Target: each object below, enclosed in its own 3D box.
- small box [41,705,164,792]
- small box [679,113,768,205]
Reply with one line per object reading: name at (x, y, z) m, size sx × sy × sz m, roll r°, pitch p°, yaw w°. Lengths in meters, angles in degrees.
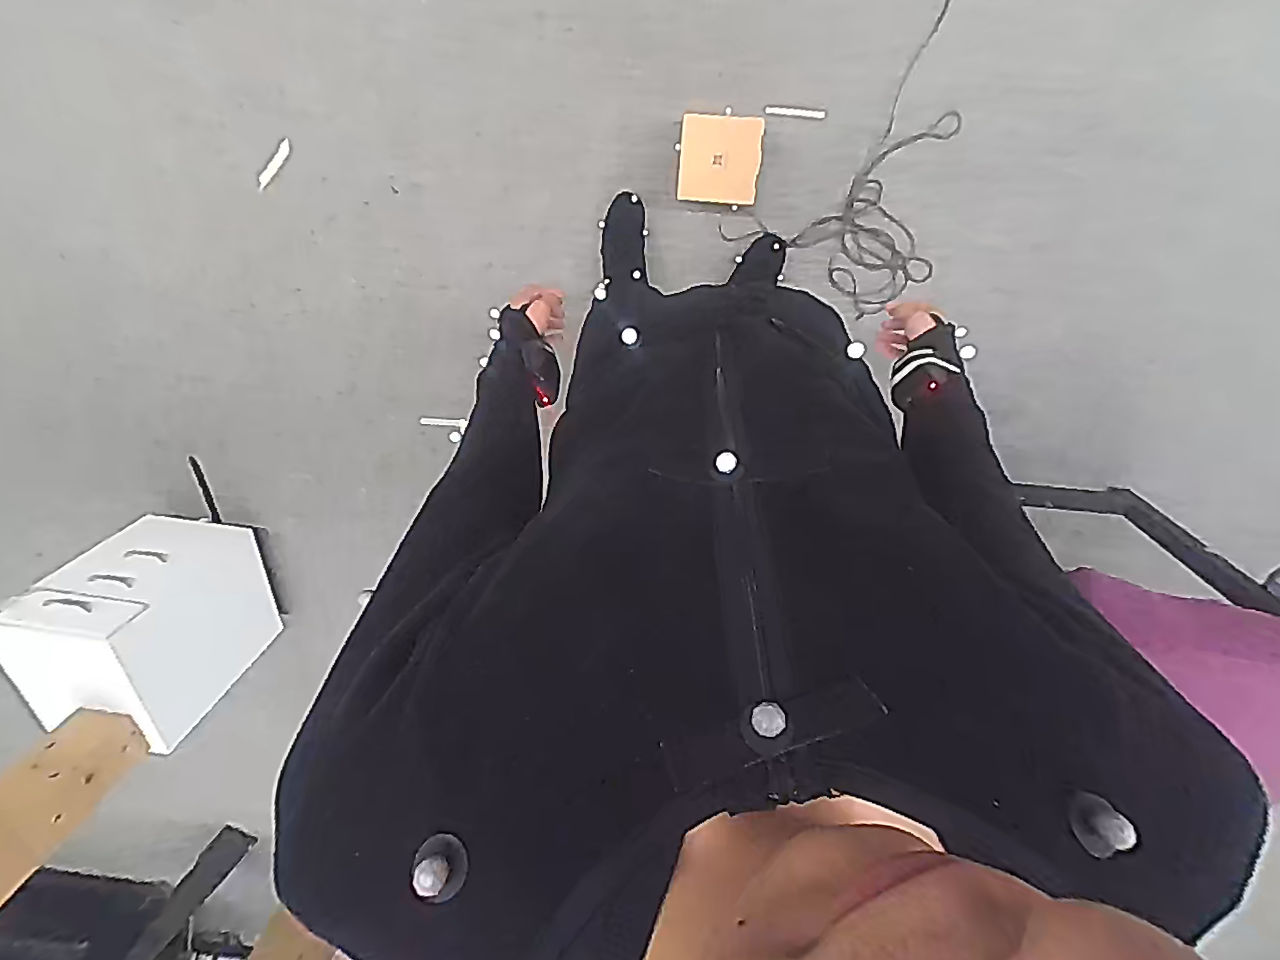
small box at (-1.626, 0.814, 1.647) m, size 0.179 × 0.176 × 0.168 m, roll 7°, pitch 120°, yaw 4°
small box at (0.185, -0.730, 1.238) m, size 0.179 × 0.176 × 0.168 m, roll 5°, pitch 120°, yaw 3°
